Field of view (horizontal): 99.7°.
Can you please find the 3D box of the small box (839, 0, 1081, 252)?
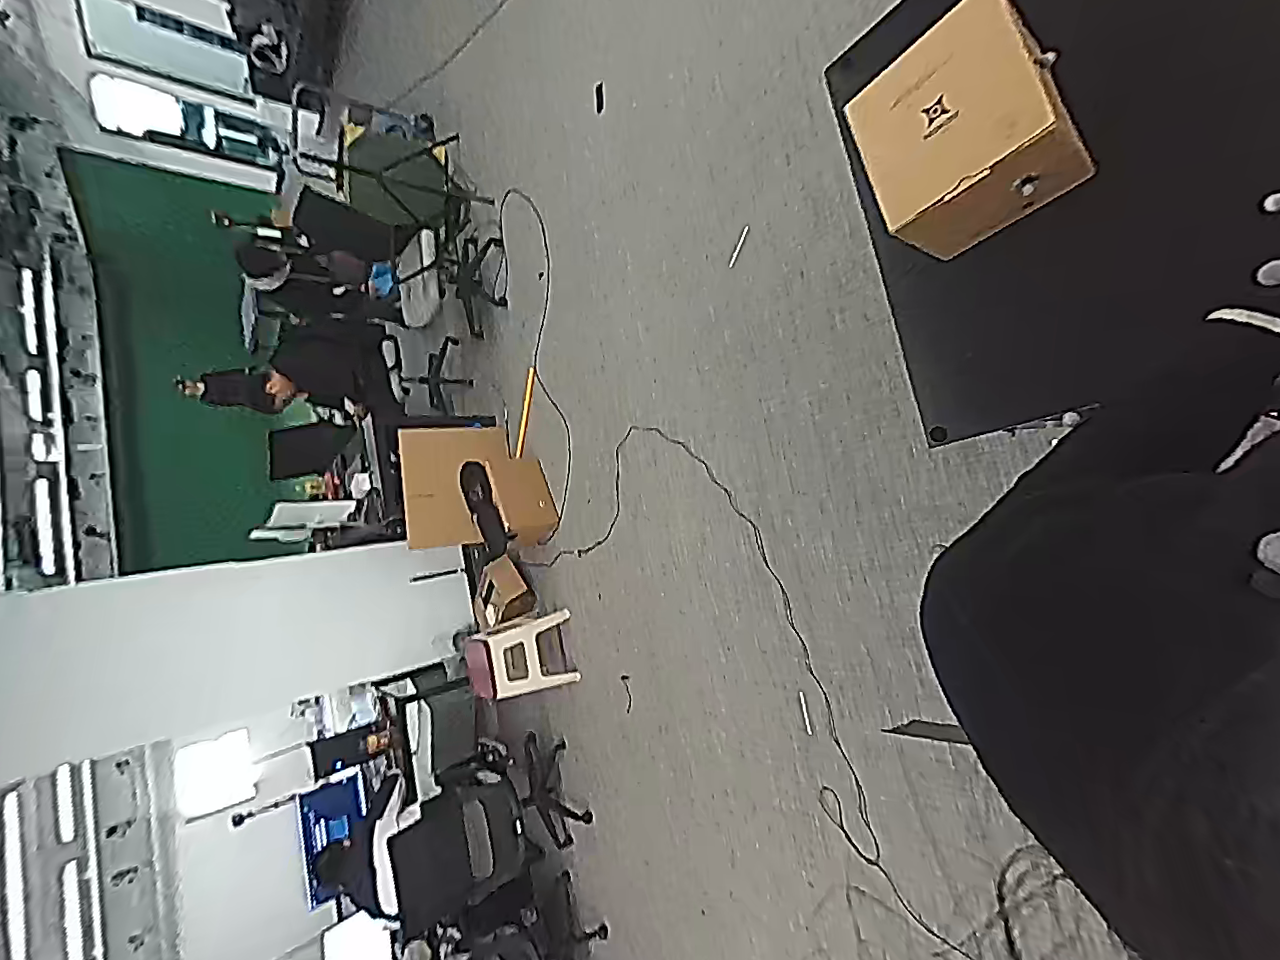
[{"bbox_3d":[0.366,-0.387,0.620,0.168,0.176,0.179,-26,74,47],"label":"small box"}]
